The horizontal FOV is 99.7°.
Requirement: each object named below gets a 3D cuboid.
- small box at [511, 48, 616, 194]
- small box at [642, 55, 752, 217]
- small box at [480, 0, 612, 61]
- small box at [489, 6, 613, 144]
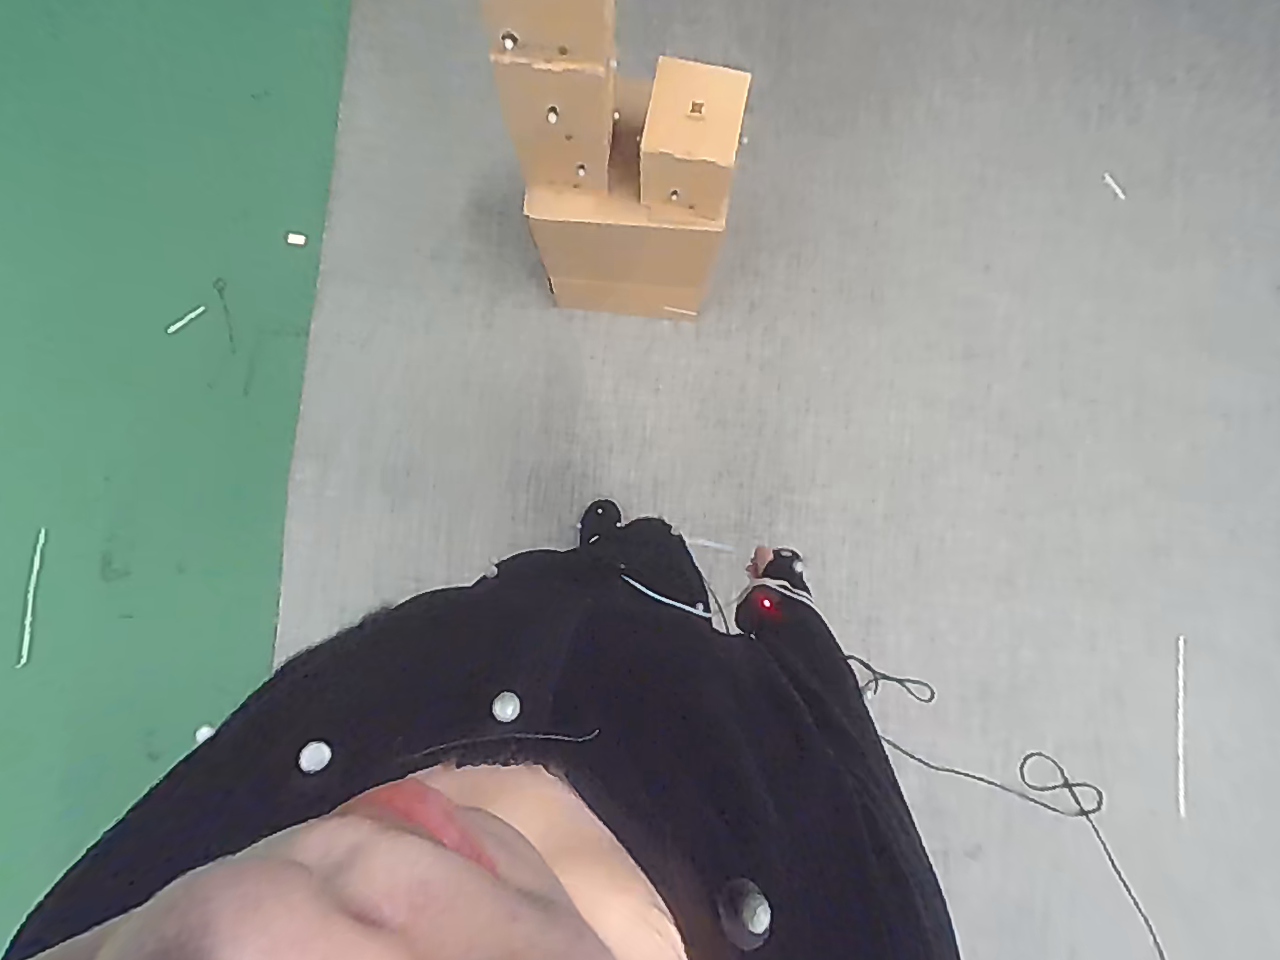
[{"bbox_3d":[-0.134,-0.668,1.009,0.168,0.176,0.179,6,87,-3],"label":"small box"},{"bbox_3d":[0.098,-0.631,1.010,0.168,0.176,0.179,11,87,1],"label":"small box"},{"bbox_3d":[-0.117,-0.679,0.681,0.168,0.176,0.179,4,86,-3],"label":"small box"},{"bbox_3d":[-0.129,-0.664,0.845,0.168,0.176,0.179,4,88,-4],"label":"small box"}]
